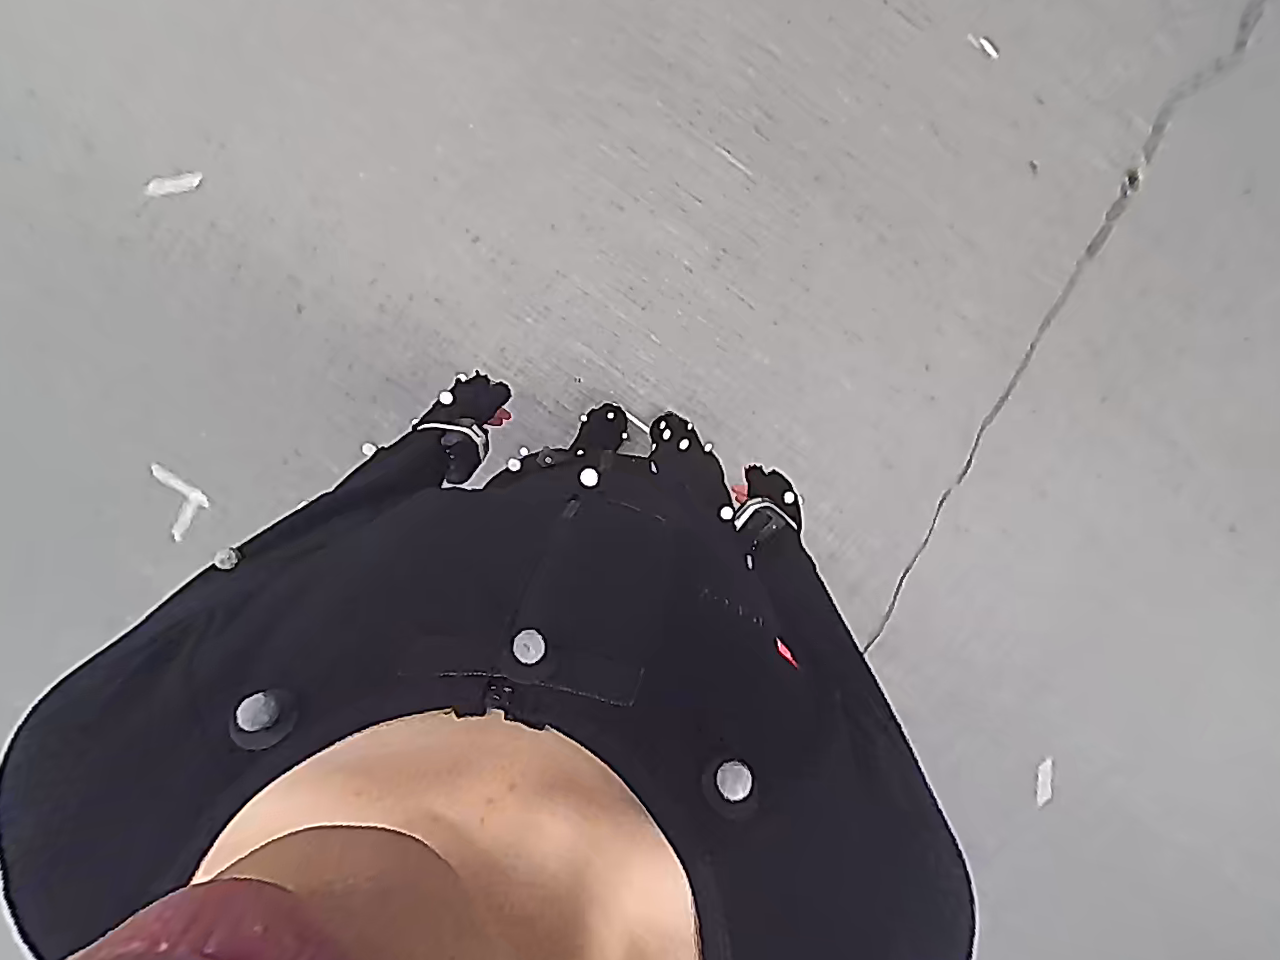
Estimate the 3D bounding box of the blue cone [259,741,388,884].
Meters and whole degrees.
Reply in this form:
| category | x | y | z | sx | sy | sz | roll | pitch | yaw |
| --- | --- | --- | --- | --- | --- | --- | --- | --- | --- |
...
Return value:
| category | x | y | z | sx | sy | sz | roll | pitch | yaw |
| --- | --- | --- | --- | --- | --- | --- | --- | --- | --- |
| blue cone | -0.870 | 0.918 | 1.460 | 0.192 | 0.380 | 0.193 | 33 | 97 | -3 |
